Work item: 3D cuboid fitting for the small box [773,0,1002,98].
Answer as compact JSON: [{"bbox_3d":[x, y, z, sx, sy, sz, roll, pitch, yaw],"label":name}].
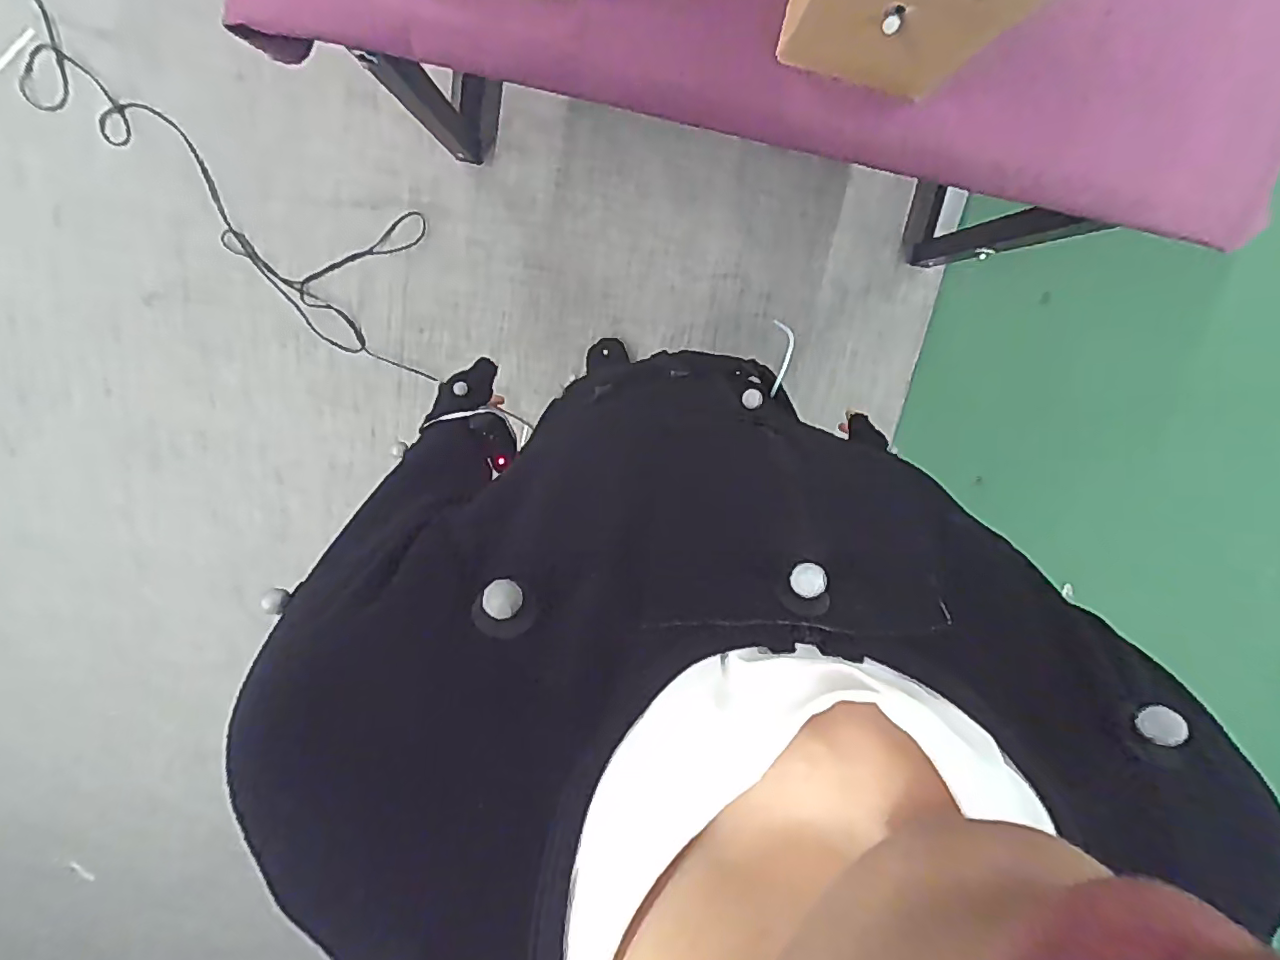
[{"bbox_3d":[0.254,-0.515,0.533,0.179,0.176,0.168,12,103,-4],"label":"small box"}]
